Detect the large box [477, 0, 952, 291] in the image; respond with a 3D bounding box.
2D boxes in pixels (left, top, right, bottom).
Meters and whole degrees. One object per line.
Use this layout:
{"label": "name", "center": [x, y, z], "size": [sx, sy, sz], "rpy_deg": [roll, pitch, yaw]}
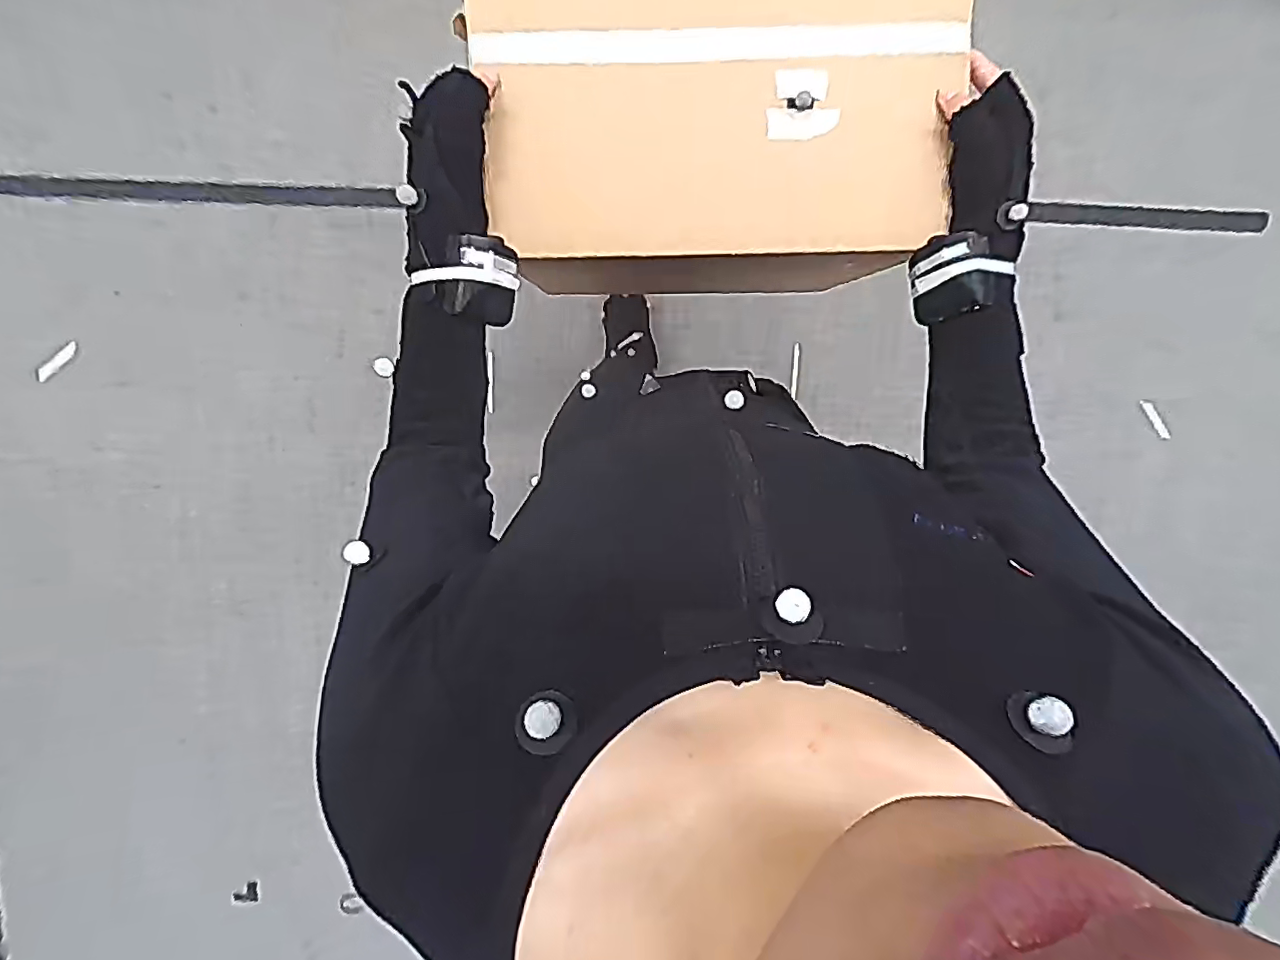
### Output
{"label": "large box", "center": [0.060, -0.397, 0.604], "size": [0.408, 0.320, 0.320], "rpy_deg": [-2, 104, -1]}
